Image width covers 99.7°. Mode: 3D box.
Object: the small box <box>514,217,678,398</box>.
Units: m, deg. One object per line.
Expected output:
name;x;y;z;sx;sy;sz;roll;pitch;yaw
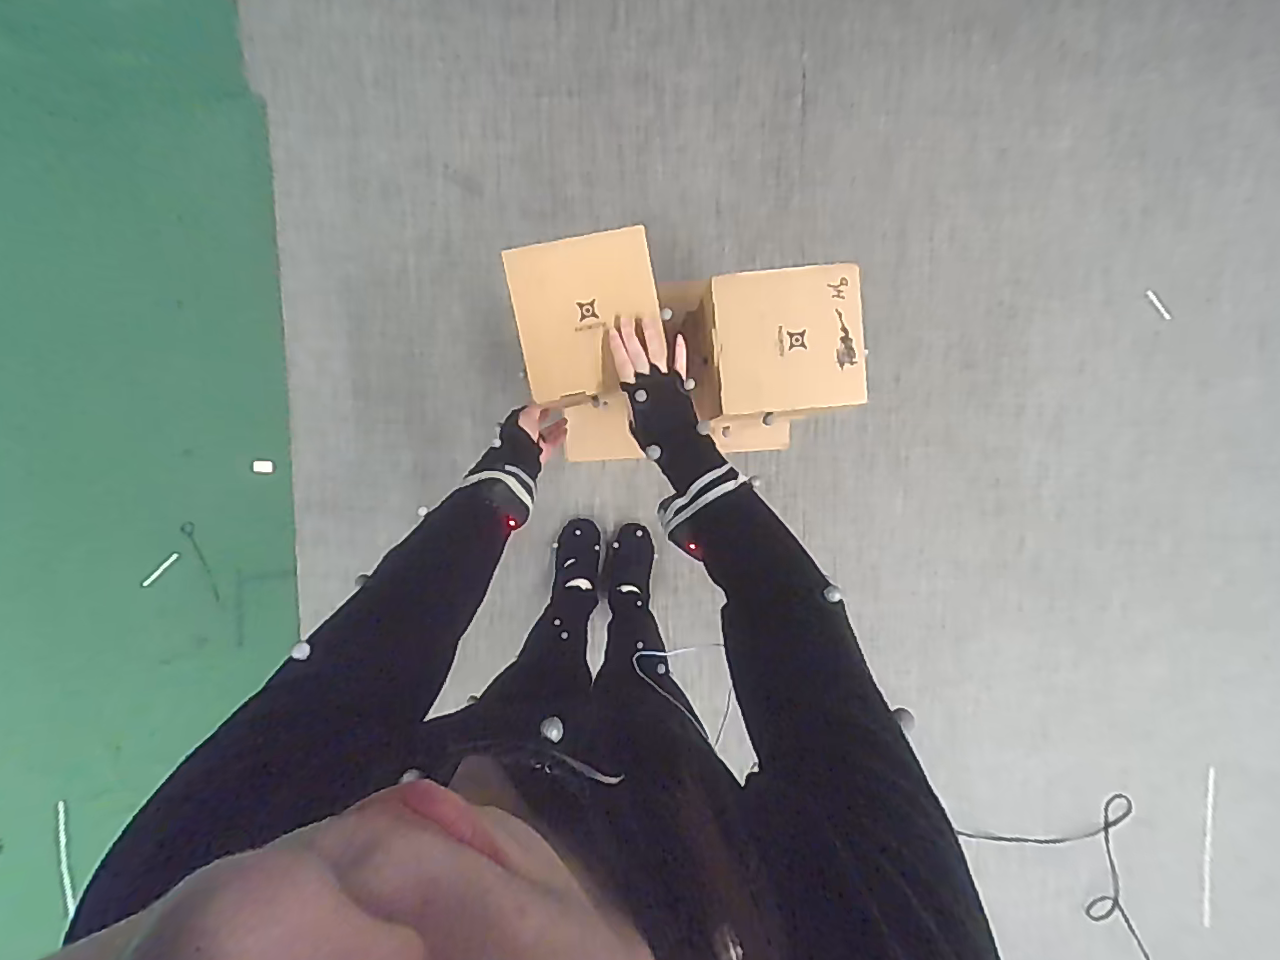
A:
small box;-0.055;-0.209;0.700;0.168;0.176;0.179;-11;97;-2
